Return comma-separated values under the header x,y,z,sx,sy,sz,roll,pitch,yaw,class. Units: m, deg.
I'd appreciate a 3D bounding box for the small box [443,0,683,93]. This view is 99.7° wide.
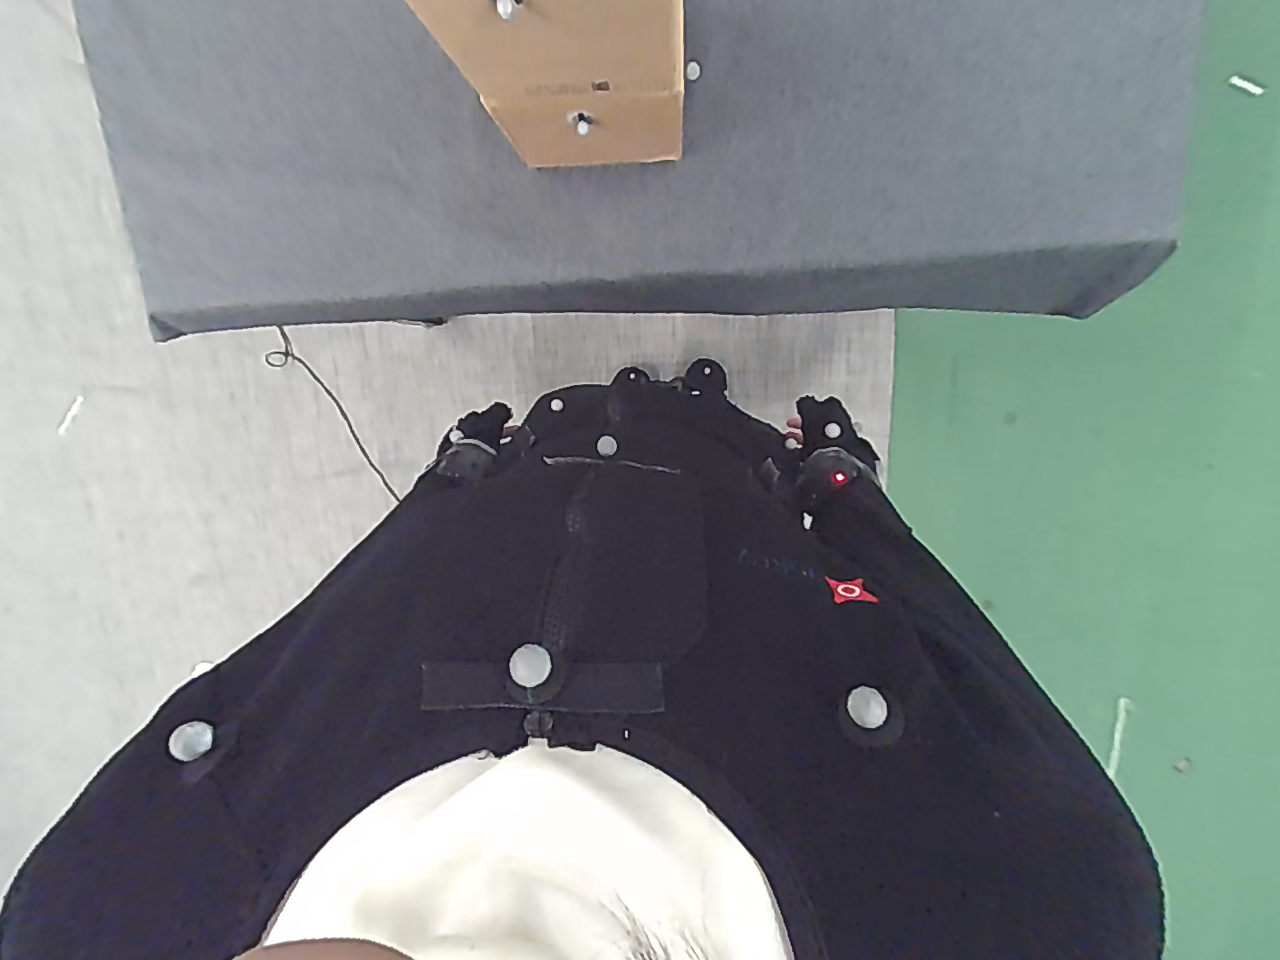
x,y,z,sx,sy,sz,roll,pitch,yaw,class
-0.056,-0.398,0.361,0.168,0.176,0.179,-2,104,4,small box

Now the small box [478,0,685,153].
x,y,z,sx,sy,sz,roll,pitch,yaw,class
-0.046,-0.432,0.518,0.179,0.176,0.168,-1,104,4,small box
